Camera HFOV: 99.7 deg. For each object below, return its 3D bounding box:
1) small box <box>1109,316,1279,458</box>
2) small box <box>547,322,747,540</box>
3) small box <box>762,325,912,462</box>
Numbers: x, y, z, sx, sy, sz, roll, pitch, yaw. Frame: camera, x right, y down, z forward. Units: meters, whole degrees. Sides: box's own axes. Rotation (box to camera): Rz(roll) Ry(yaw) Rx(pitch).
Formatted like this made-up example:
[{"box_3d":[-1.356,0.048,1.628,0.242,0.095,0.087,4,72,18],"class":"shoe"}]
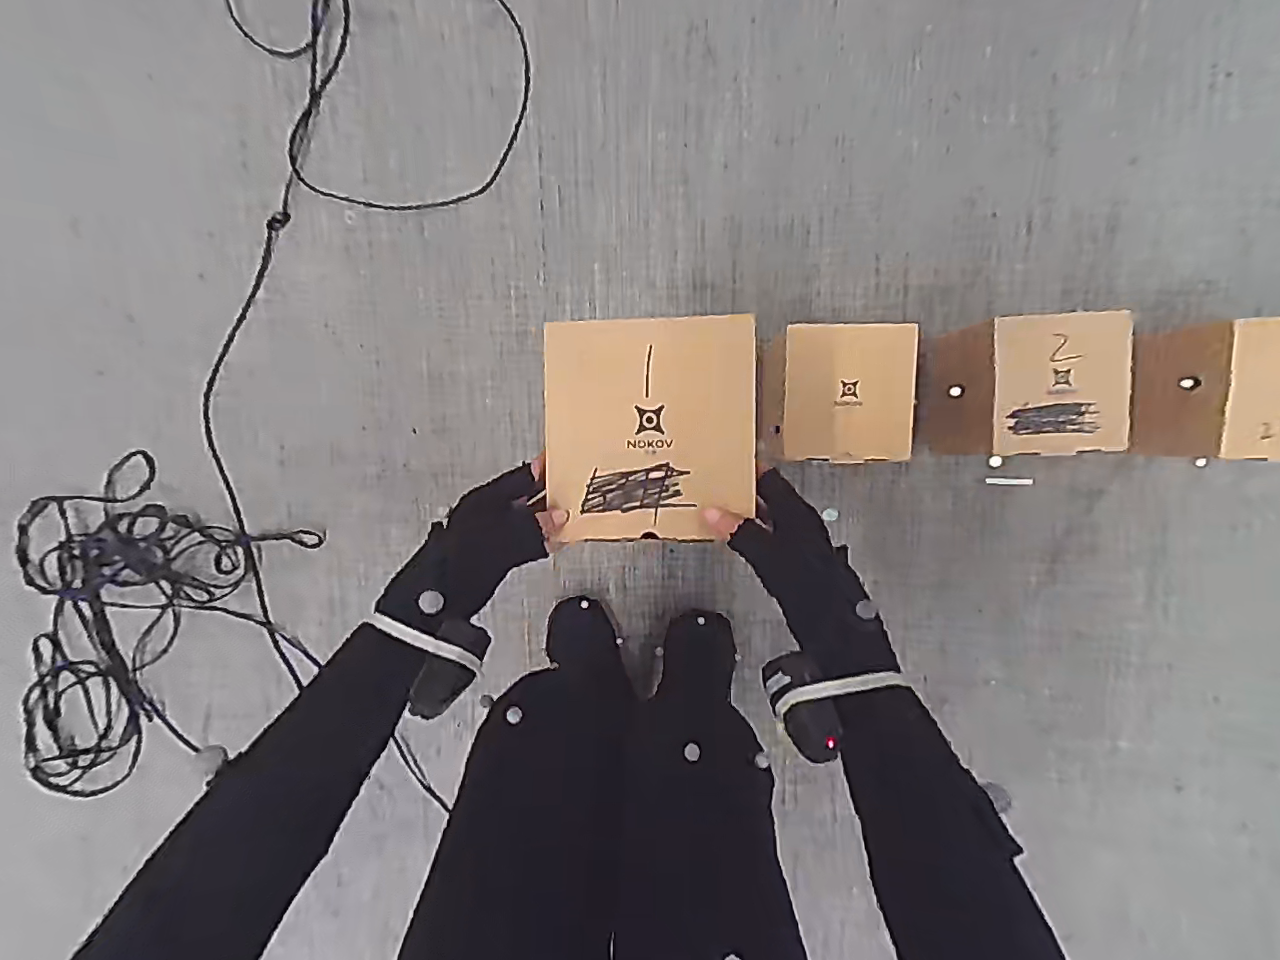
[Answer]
[{"box_3d":[0.801,-0.121,0.747,0.168,0.176,0.179,0,96,4],"class":"small box"},{"box_3d":[0.015,-0.042,0.519,0.168,0.176,0.179,-1,92,6],"class":"small box"},{"box_3d":[0.272,-0.118,0.781,0.168,0.176,0.179,0,96,5],"class":"small box"}]
